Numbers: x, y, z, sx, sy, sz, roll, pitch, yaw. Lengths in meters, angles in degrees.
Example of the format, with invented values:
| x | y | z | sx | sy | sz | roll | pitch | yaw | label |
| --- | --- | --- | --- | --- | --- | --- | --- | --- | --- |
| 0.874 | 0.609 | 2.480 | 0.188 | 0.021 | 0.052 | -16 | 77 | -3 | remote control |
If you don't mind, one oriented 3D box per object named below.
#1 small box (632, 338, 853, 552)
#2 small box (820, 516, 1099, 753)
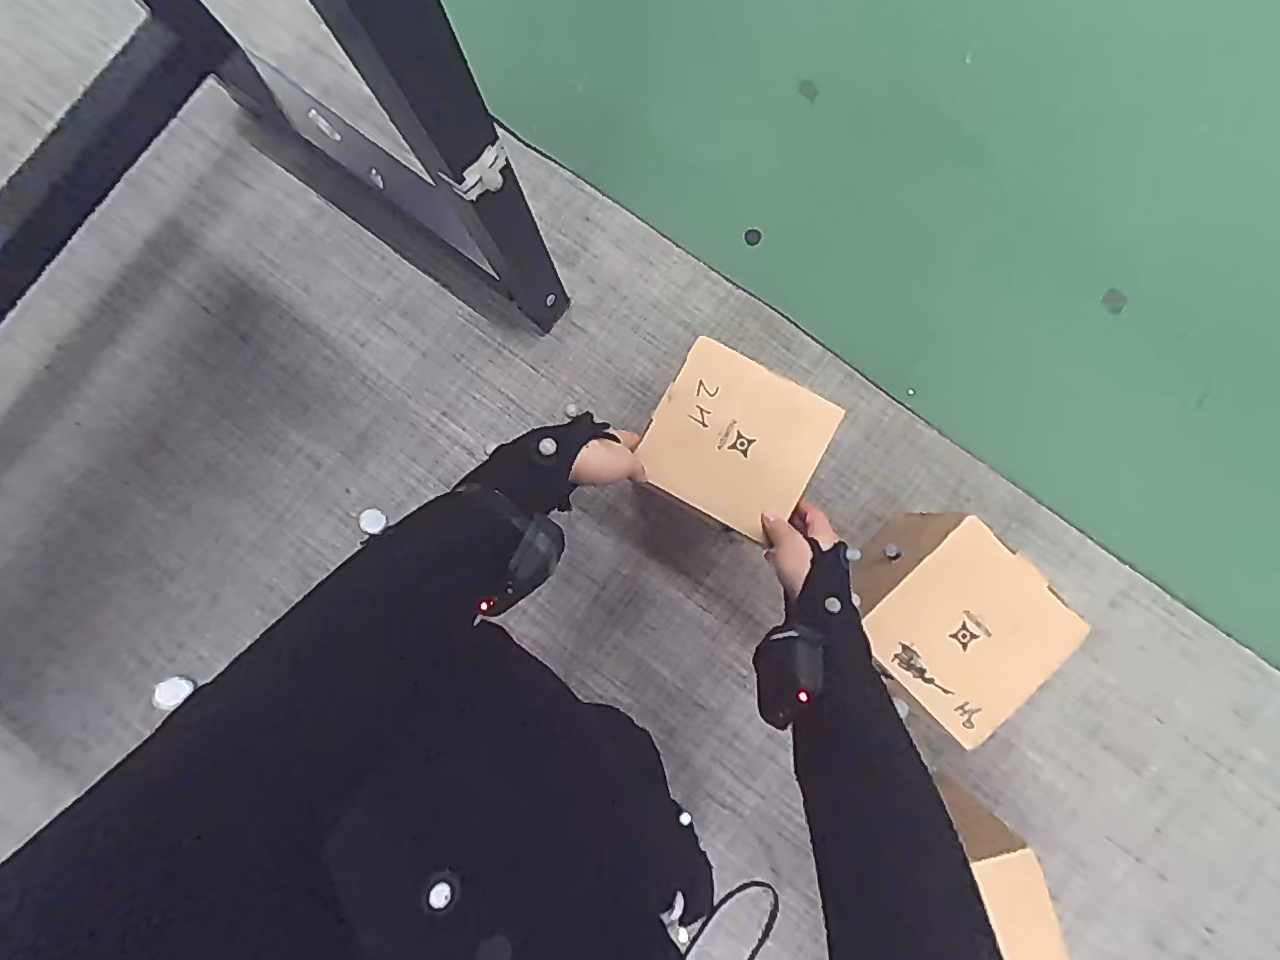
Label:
| x | y | z | sx | sy | sz | roll | pitch | yaw | label |
| --- | --- | --- | --- | --- | --- | --- | --- | --- | --- |
| 0.109 | -0.034 | 0.636 | 0.179 | 0.176 | 0.168 | 29 | 88 | 4 | small box |
| 0.336 | 0.155 | 0.611 | 0.179 | 0.176 | 0.168 | -44 | 86 | -1 | small box |
